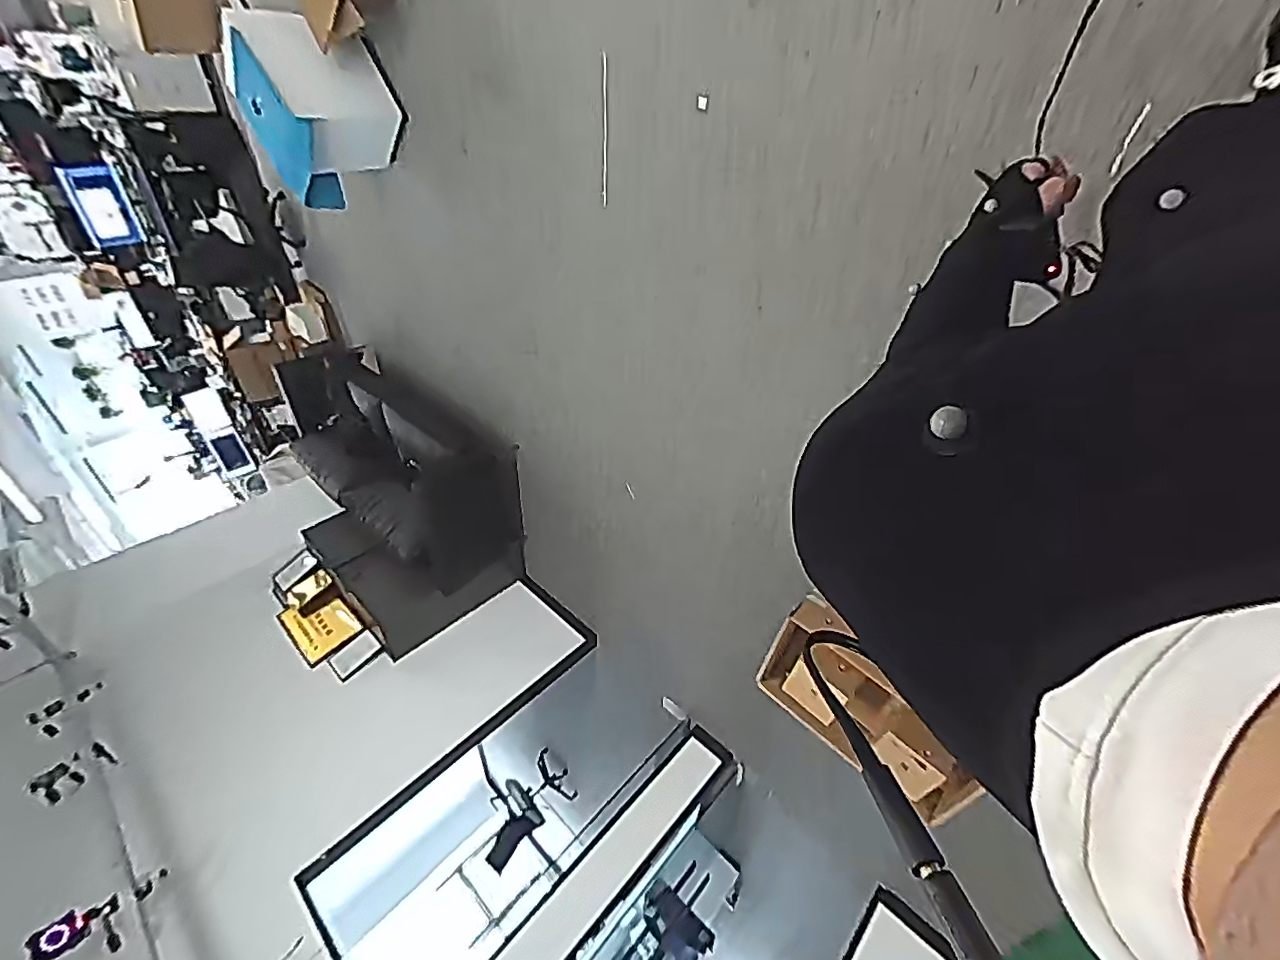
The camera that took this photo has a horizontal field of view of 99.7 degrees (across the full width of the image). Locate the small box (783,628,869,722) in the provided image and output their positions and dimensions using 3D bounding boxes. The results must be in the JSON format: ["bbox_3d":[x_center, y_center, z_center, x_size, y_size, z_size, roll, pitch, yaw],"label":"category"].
[{"bbox_3d":[0.572,0.589,1.651,0.168,0.176,0.179,36,138,27],"label":"small box"}]

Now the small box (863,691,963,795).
[{"bbox_3d":[0.772,0.738,1.524,0.168,0.176,0.179,37,139,25],"label":"small box"}]
